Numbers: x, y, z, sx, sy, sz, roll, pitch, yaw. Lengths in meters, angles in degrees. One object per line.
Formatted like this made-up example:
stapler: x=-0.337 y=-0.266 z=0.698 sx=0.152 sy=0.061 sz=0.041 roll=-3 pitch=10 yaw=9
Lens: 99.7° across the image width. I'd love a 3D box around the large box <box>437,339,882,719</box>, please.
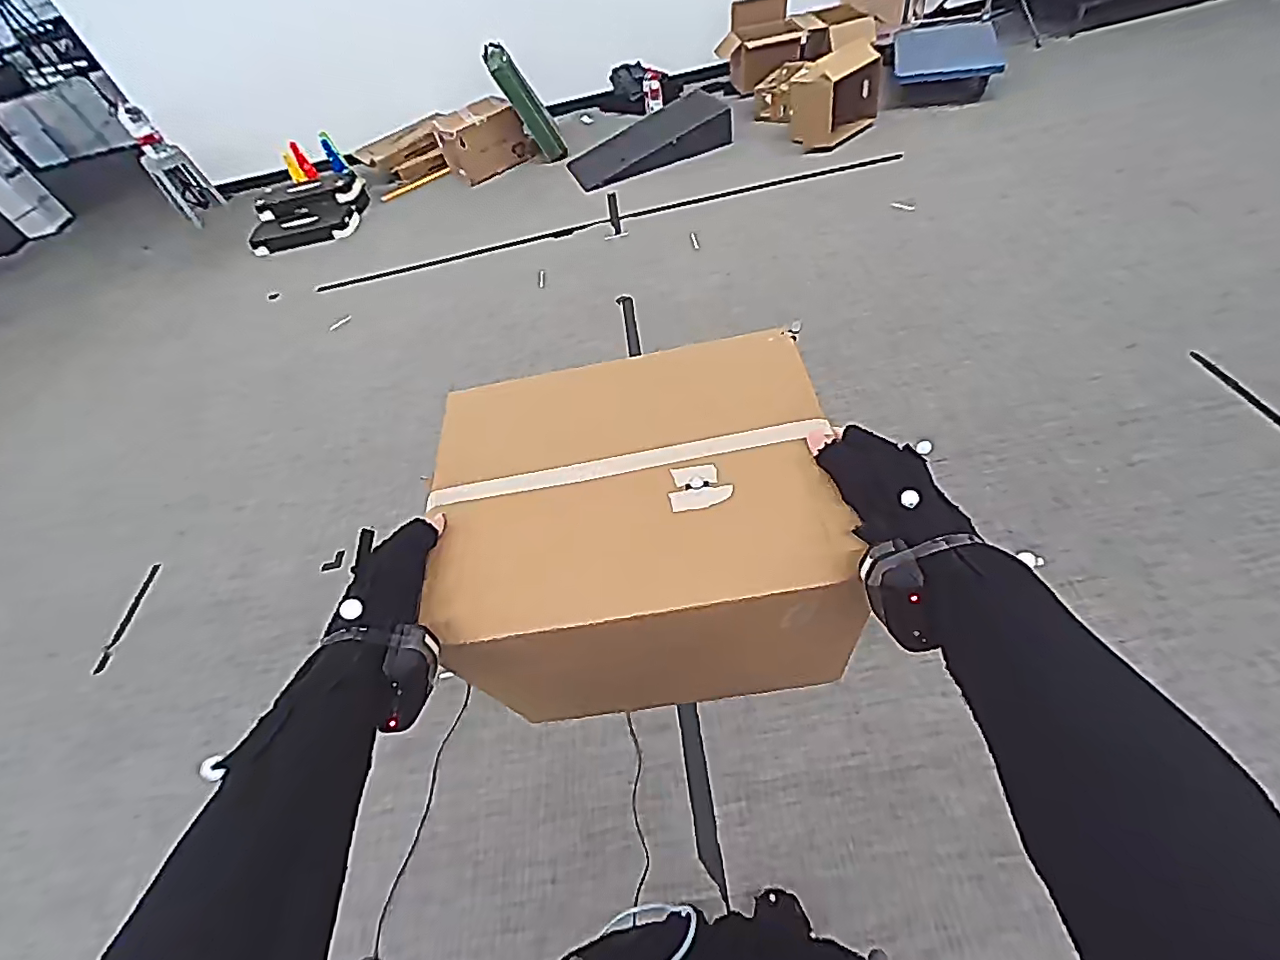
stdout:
large box: x=0.018 y=0.076 z=0.673 sx=0.408 sy=0.320 sz=0.320 roll=-10 pitch=54 yaw=4
